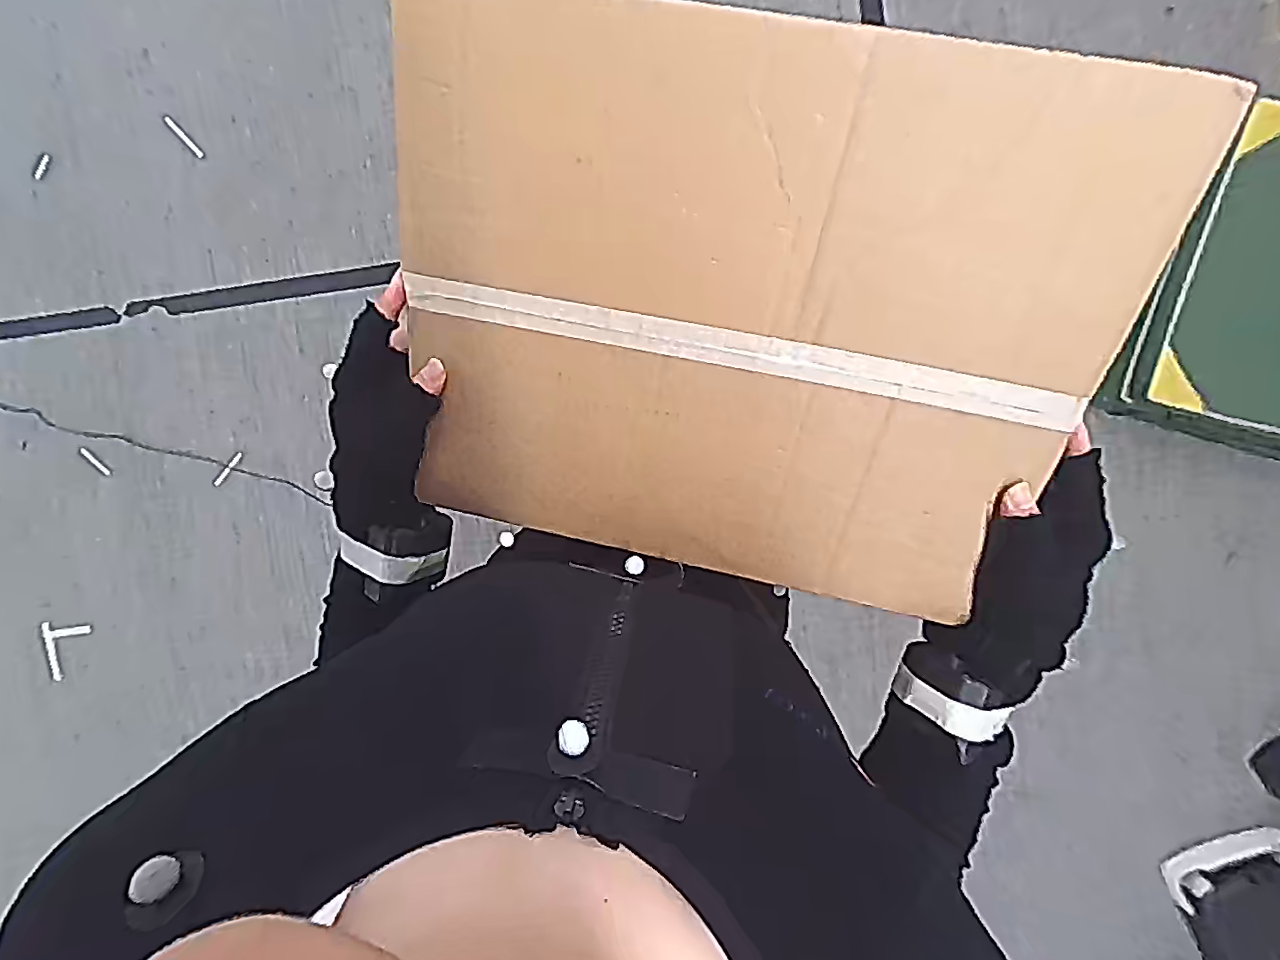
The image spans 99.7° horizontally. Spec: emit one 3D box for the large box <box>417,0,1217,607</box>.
[{"bbox_3d":[0.077,-0.145,0.465,0.408,0.320,0.320,12,117,5],"label":"large box"}]
